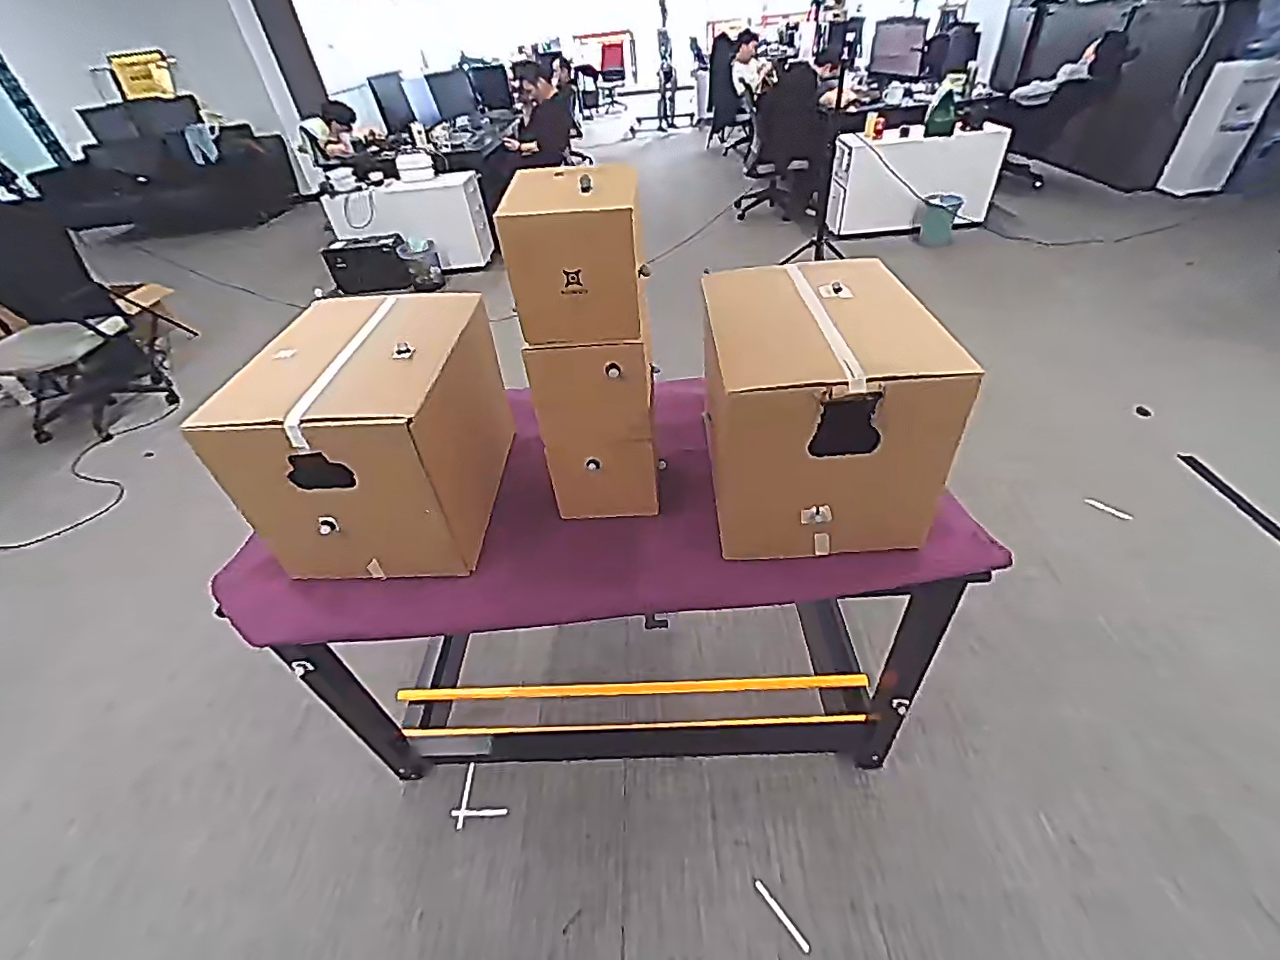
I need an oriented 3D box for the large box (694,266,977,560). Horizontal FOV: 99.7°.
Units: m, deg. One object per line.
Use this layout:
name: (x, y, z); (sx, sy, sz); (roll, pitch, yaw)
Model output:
large box: (0.267, -0.123, 0.899); (0.320, 0.320, 0.408); (-4, 39, 2)
